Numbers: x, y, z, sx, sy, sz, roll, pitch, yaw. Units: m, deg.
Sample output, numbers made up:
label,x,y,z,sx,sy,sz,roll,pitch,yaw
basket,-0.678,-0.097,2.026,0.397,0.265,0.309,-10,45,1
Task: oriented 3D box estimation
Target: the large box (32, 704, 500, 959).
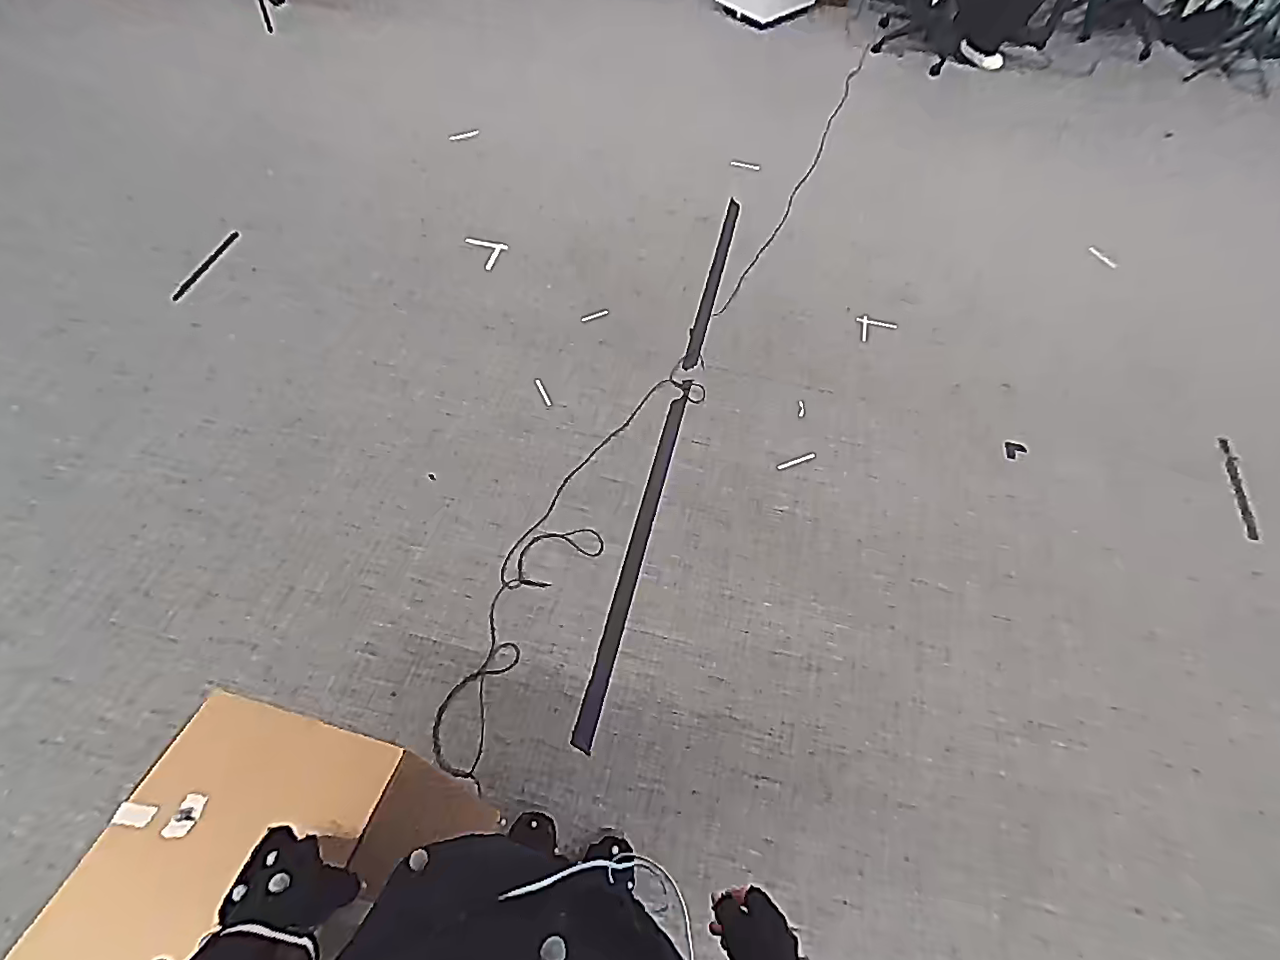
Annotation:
label,x,y,z,sx,sy,sz,roll,pitch,yaw
large box,-0.452,0.561,0.757,0.320,0.408,0.320,10,51,15
